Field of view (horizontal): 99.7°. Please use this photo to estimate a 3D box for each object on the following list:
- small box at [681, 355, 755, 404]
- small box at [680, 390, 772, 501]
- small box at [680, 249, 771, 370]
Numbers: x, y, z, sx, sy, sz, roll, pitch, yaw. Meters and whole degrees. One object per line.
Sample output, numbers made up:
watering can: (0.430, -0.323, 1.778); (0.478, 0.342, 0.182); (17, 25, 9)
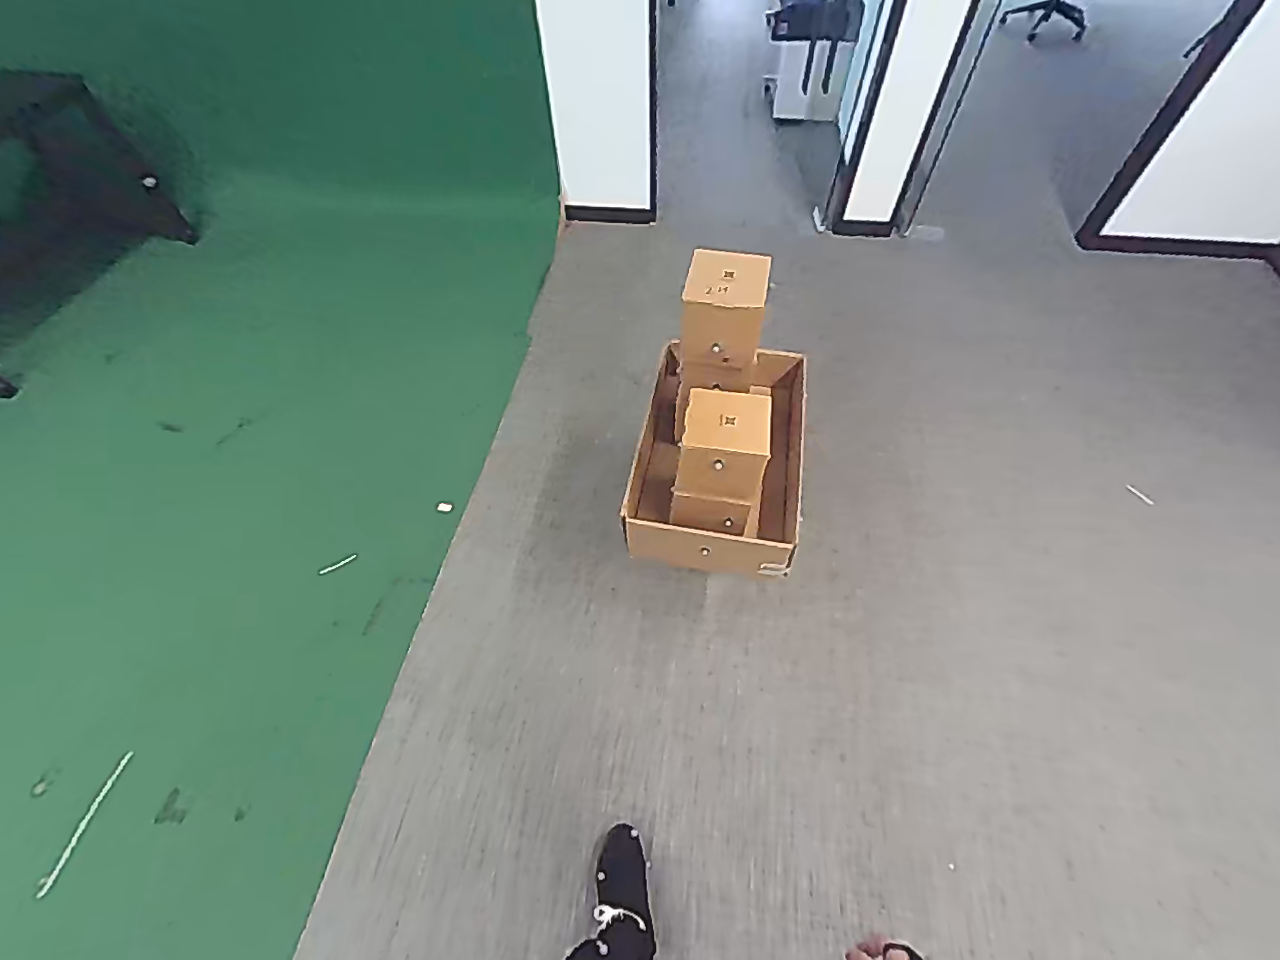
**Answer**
small box: (0.188, -0.290, 1.317); (0.168, 0.176, 0.179); (3, 57, 4)
small box: (0.183, -0.070, 1.167); (0.179, 0.176, 0.168); (6, 55, 7)
small box: (0.181, -0.367, 1.171); (0.168, 0.176, 0.179); (9, 58, 9)
